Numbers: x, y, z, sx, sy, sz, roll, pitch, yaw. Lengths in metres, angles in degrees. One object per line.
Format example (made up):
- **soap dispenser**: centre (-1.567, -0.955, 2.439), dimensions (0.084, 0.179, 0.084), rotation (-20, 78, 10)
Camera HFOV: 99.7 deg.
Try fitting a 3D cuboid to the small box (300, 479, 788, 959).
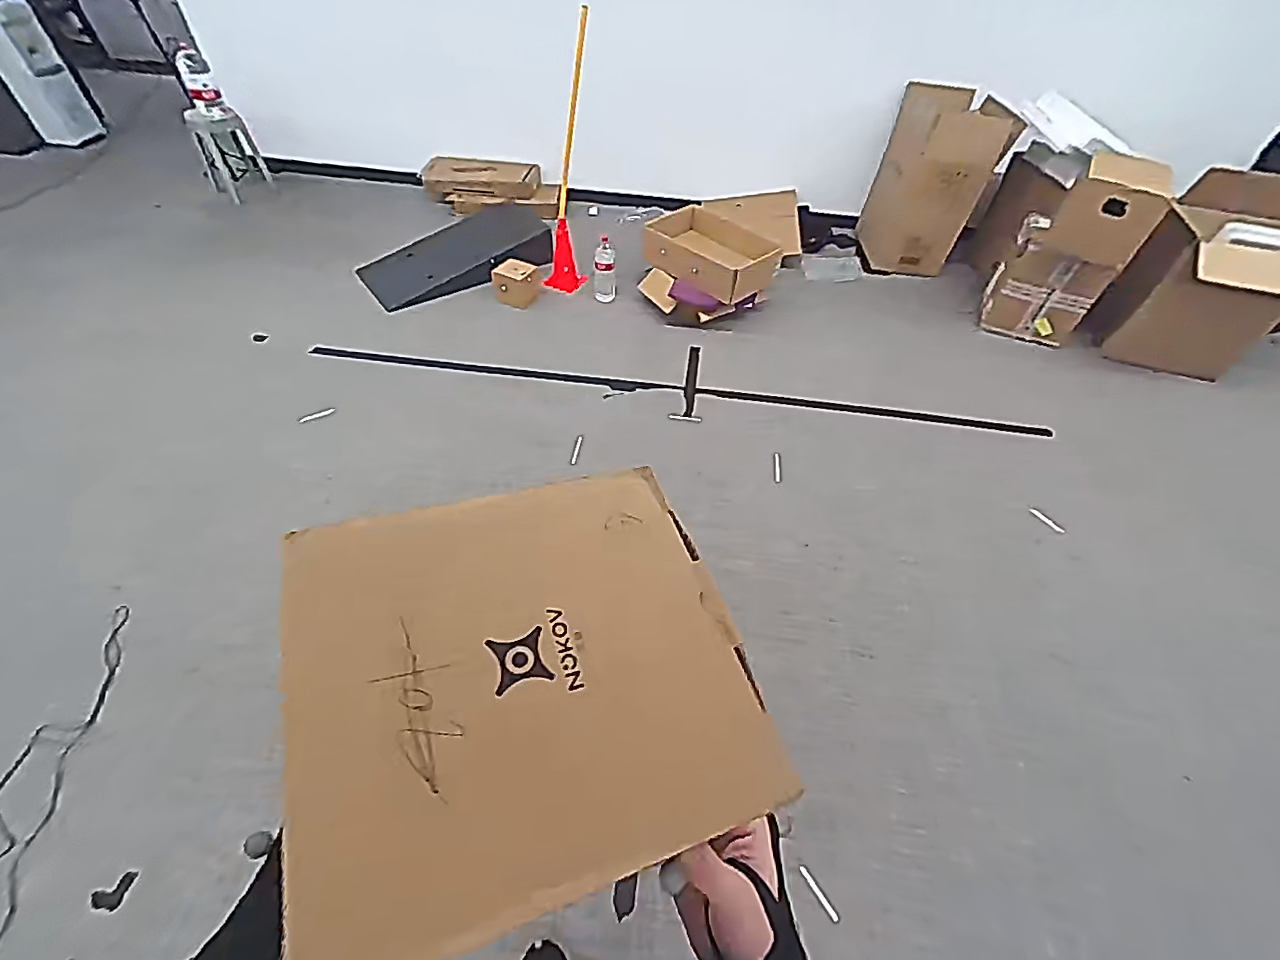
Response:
- **small box**: centre (-0.059, 0.126, 0.294), dimensions (0.179, 0.176, 0.168), rotation (-13, 56, -21)
